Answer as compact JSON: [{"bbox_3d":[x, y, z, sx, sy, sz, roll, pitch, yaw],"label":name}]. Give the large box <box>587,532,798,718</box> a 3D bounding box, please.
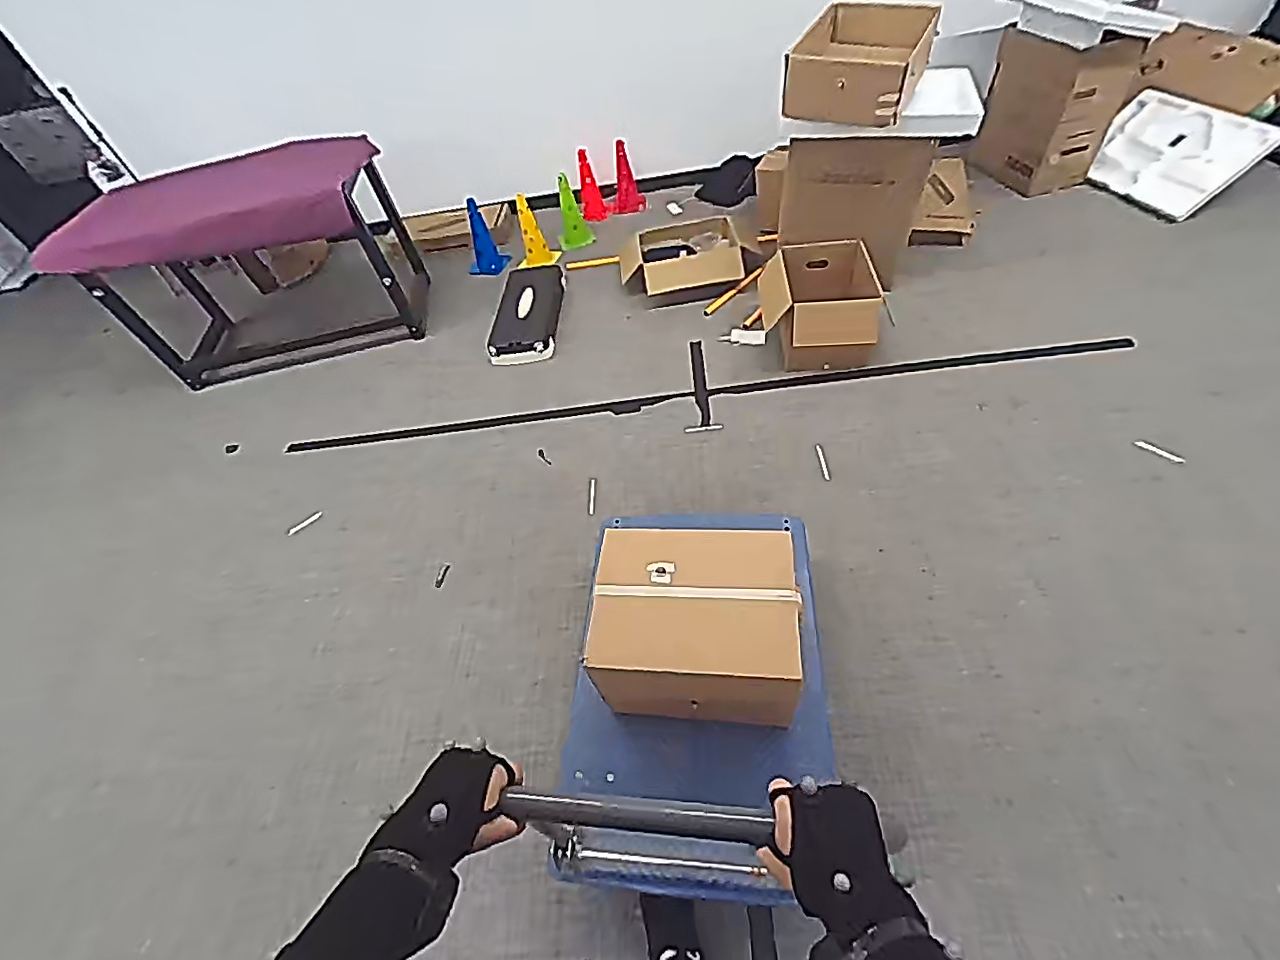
[{"bbox_3d":[0.129,0.329,1.216,0.408,0.320,0.320,-1,50,11],"label":"large box"}]
